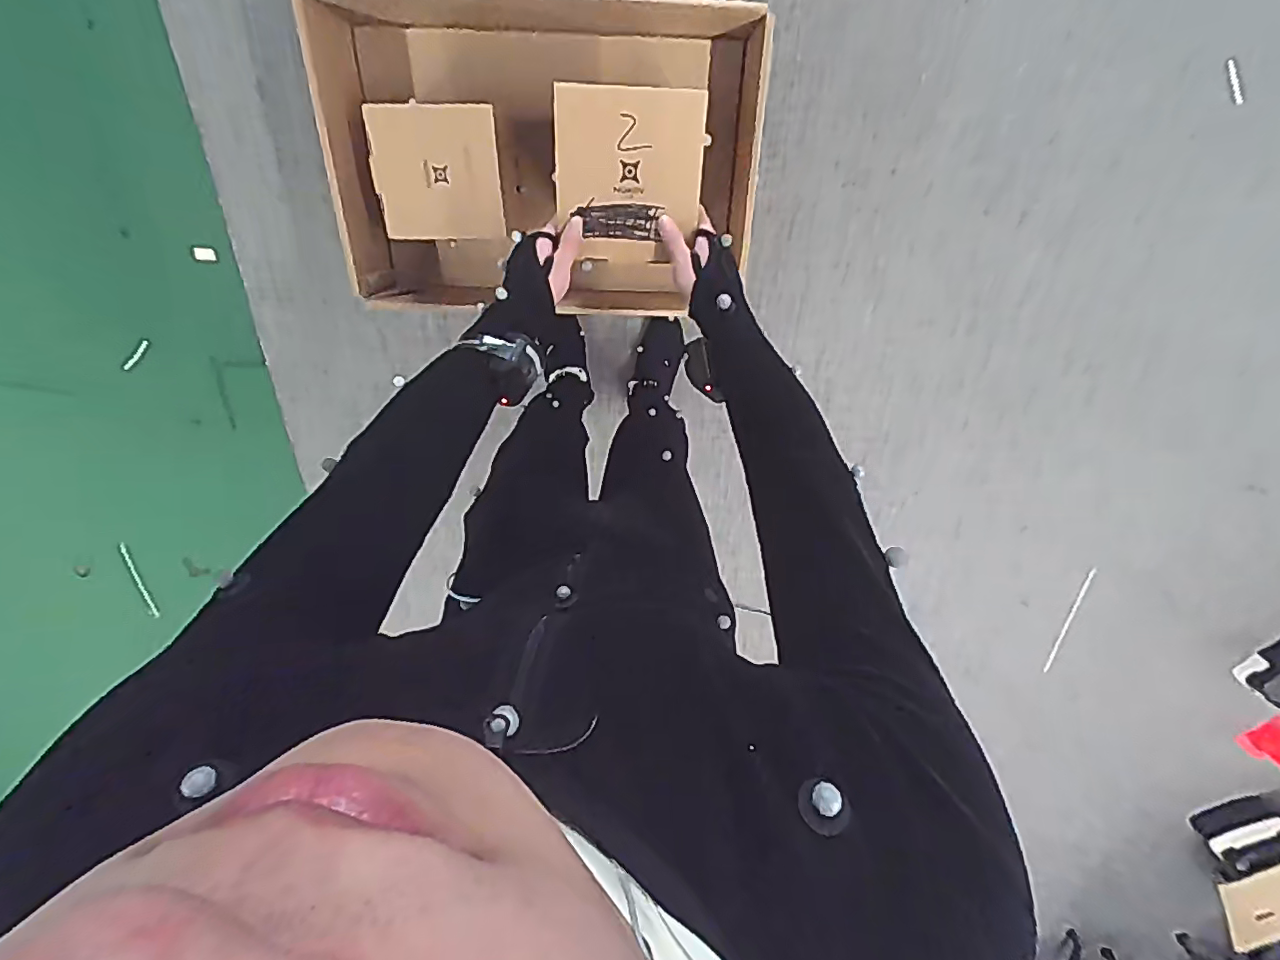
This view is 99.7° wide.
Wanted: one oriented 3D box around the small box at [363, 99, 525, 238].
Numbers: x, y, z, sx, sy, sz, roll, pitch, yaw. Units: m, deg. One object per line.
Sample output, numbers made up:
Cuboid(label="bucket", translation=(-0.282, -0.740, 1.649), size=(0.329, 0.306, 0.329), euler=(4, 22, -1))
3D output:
Cuboid(label="small box", translation=(-0.281, -0.461, 0.817), size=(0.179, 0.176, 0.168), euler=(0, 118, -2))
